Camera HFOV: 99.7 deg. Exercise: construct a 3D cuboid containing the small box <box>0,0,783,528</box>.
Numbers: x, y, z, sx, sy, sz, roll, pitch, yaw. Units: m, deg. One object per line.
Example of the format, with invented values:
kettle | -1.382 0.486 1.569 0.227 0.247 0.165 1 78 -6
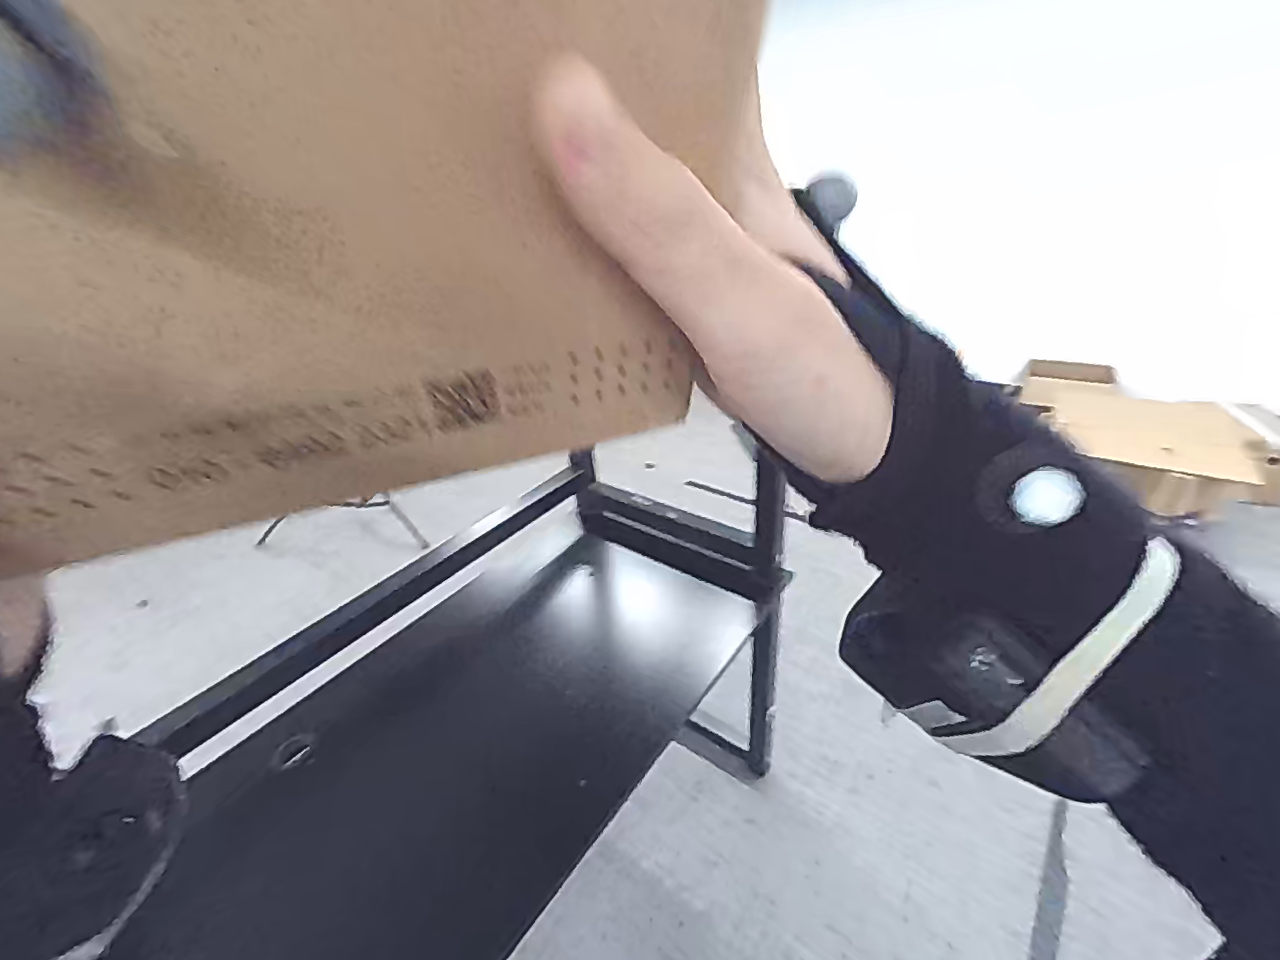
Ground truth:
small box | -0.076 -0.107 0.130 0.168 0.176 0.179 -14 53 -18
